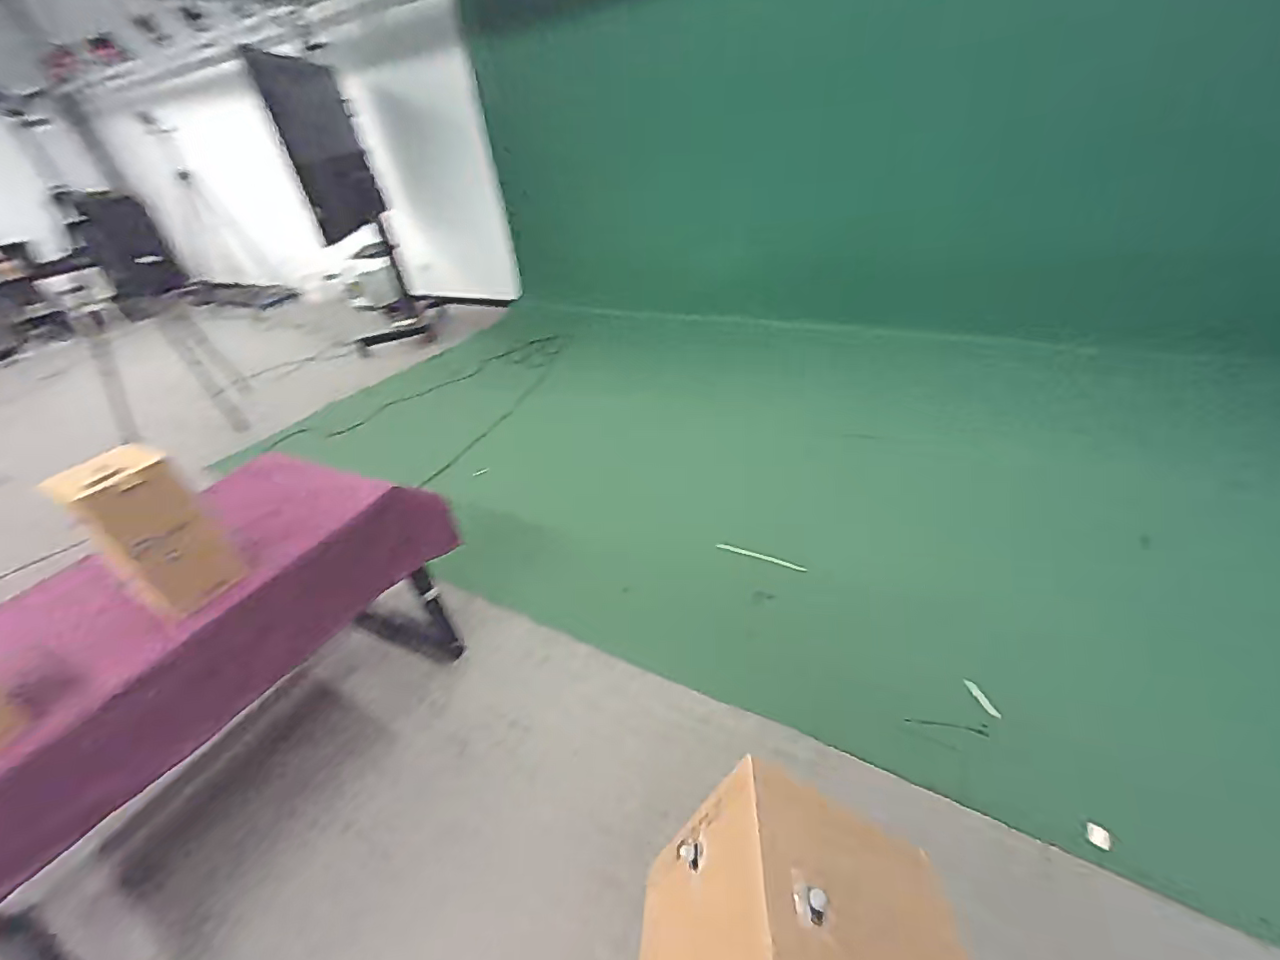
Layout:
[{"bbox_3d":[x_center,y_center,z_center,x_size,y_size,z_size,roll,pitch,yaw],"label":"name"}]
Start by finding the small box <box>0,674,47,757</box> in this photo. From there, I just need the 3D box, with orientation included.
[{"bbox_3d":[-1.223,0.415,0.947,0.179,0.176,0.168,13,41,27],"label":"small box"}]

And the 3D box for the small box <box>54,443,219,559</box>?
[{"bbox_3d":[-1.052,0.046,1.145,0.179,0.176,0.168,11,39,26],"label":"small box"}]

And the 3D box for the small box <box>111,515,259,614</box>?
[{"bbox_3d":[-1.032,0.180,1.238,0.179,0.176,0.168,11,41,27],"label":"small box"}]
